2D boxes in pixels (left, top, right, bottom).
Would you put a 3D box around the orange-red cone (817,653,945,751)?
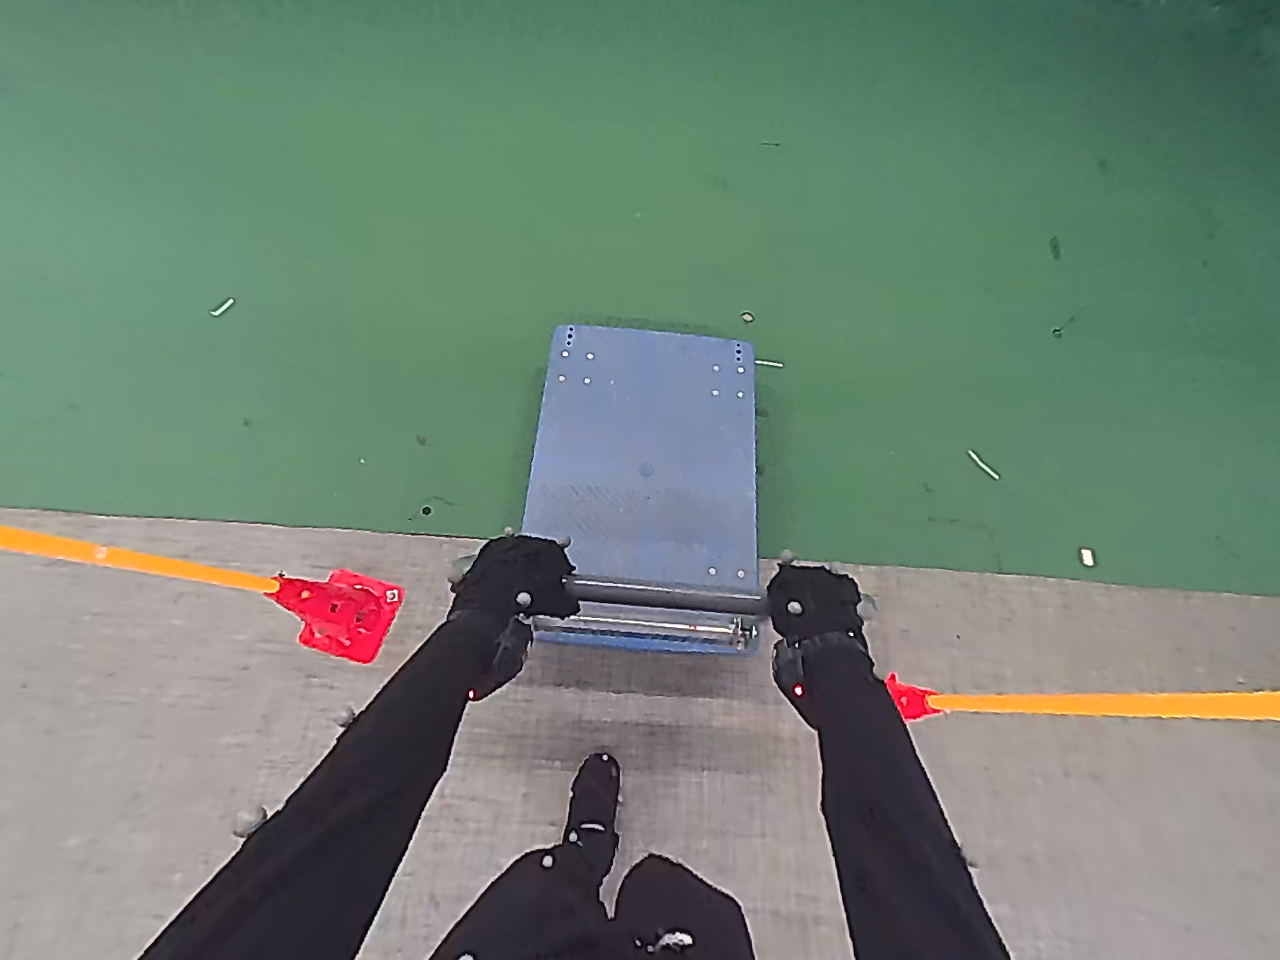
[{"bbox_3d":[0.560,0.489,1.198,0.198,0.360,0.199,14,68,3],"label":"orange-red cone"}]
